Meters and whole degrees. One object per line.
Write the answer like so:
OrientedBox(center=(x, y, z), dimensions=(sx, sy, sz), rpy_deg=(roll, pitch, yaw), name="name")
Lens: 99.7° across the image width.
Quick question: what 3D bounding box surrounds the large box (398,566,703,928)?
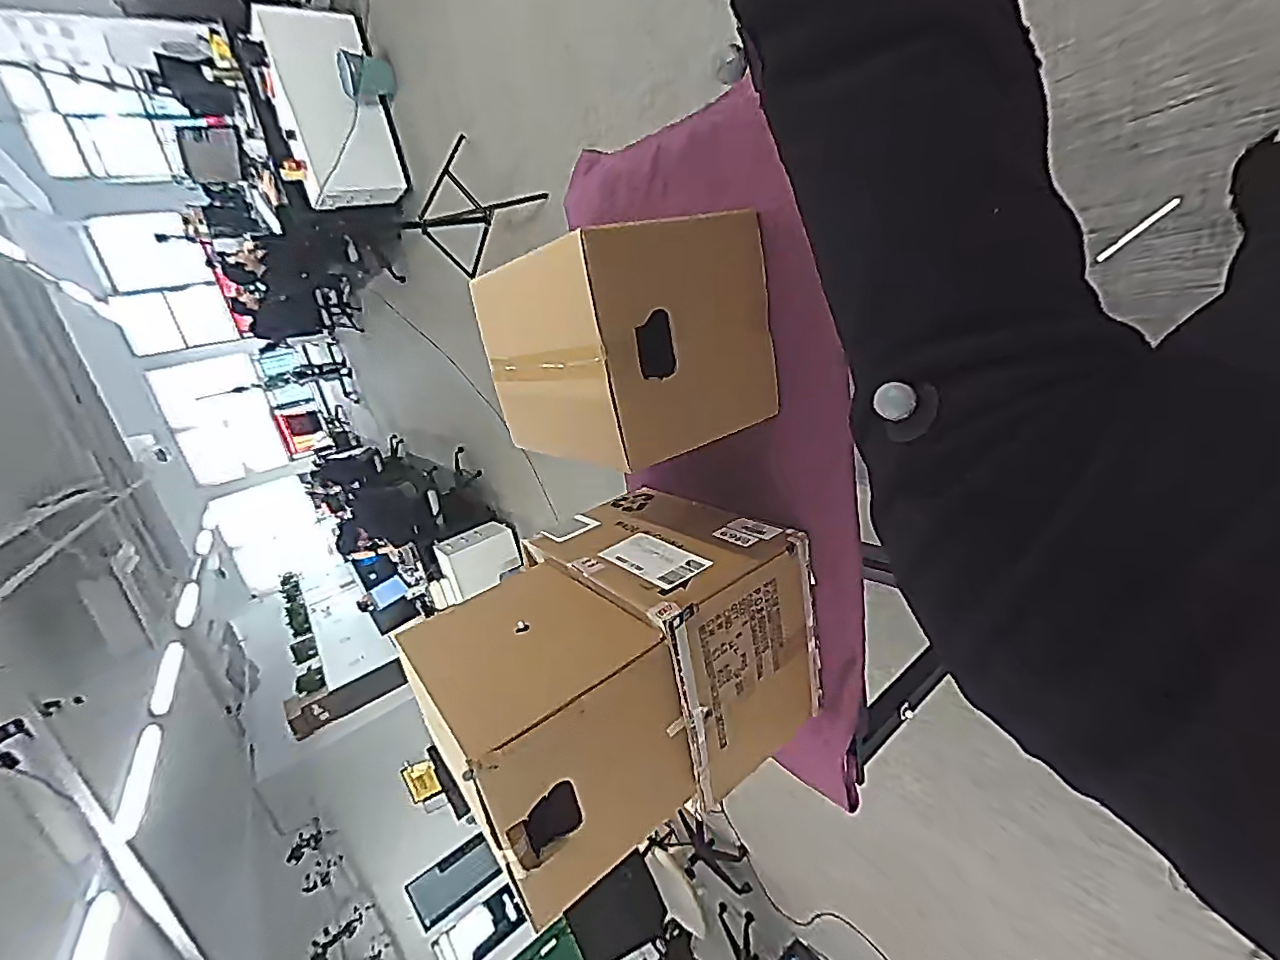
OrientedBox(center=(-0.159, 0.383, 0.908), dimensions=(0.408, 0.320, 0.320), rpy_deg=(13, 122, 53), name="large box")
